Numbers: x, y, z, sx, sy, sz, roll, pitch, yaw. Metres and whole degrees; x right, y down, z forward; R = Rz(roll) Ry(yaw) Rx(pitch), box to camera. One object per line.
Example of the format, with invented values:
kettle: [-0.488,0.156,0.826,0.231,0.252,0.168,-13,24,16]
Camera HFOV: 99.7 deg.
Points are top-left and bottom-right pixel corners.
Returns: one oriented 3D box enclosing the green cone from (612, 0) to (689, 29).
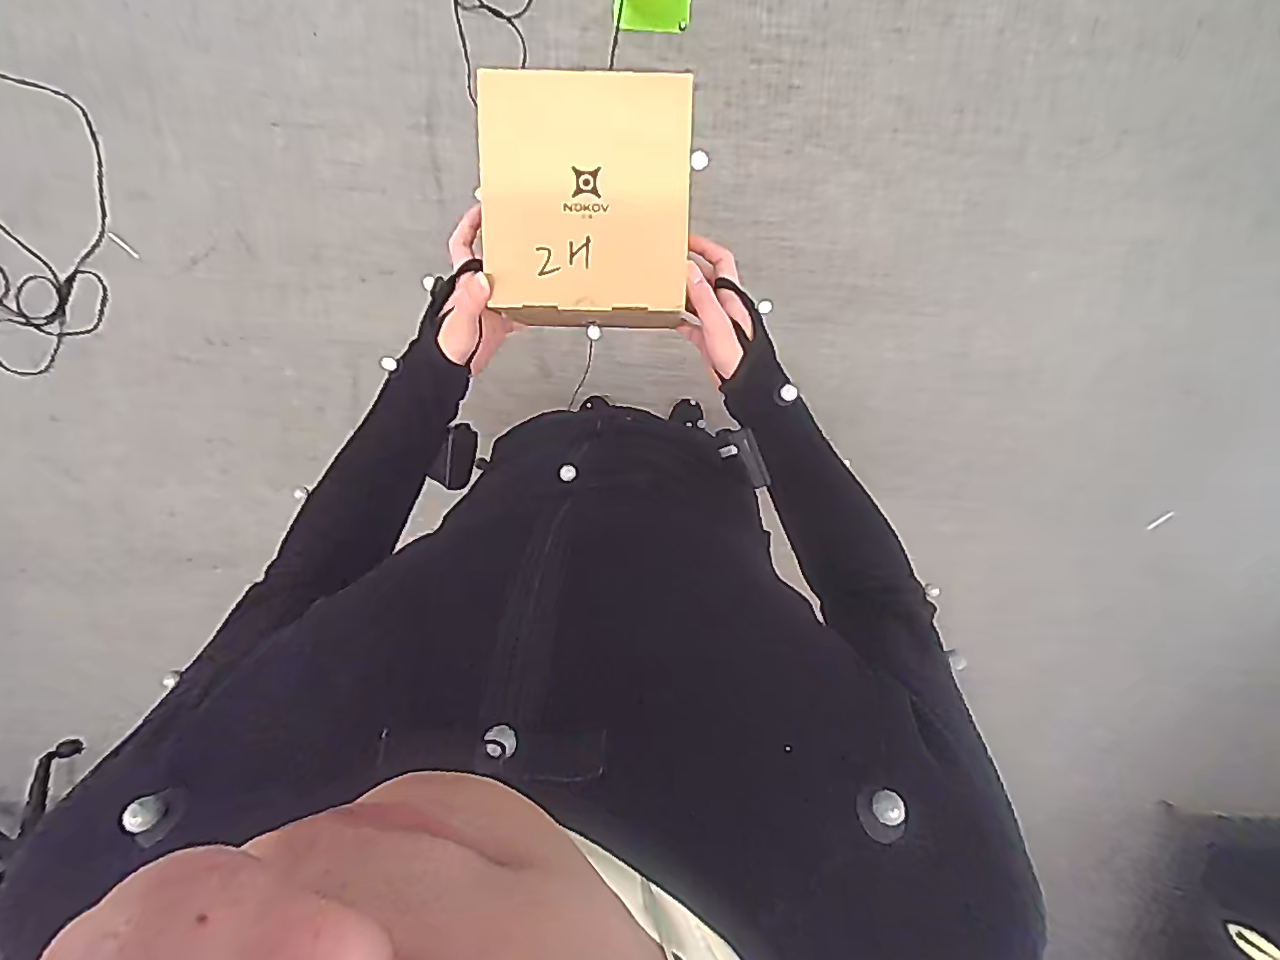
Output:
green cone: [0.029,-1.262,1.237,0.202,0.368,0.200,3,99,0]

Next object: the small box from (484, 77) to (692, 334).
small box: [-0.045,-0.239,0.515,0.168,0.176,0.179,2,101,-1]
